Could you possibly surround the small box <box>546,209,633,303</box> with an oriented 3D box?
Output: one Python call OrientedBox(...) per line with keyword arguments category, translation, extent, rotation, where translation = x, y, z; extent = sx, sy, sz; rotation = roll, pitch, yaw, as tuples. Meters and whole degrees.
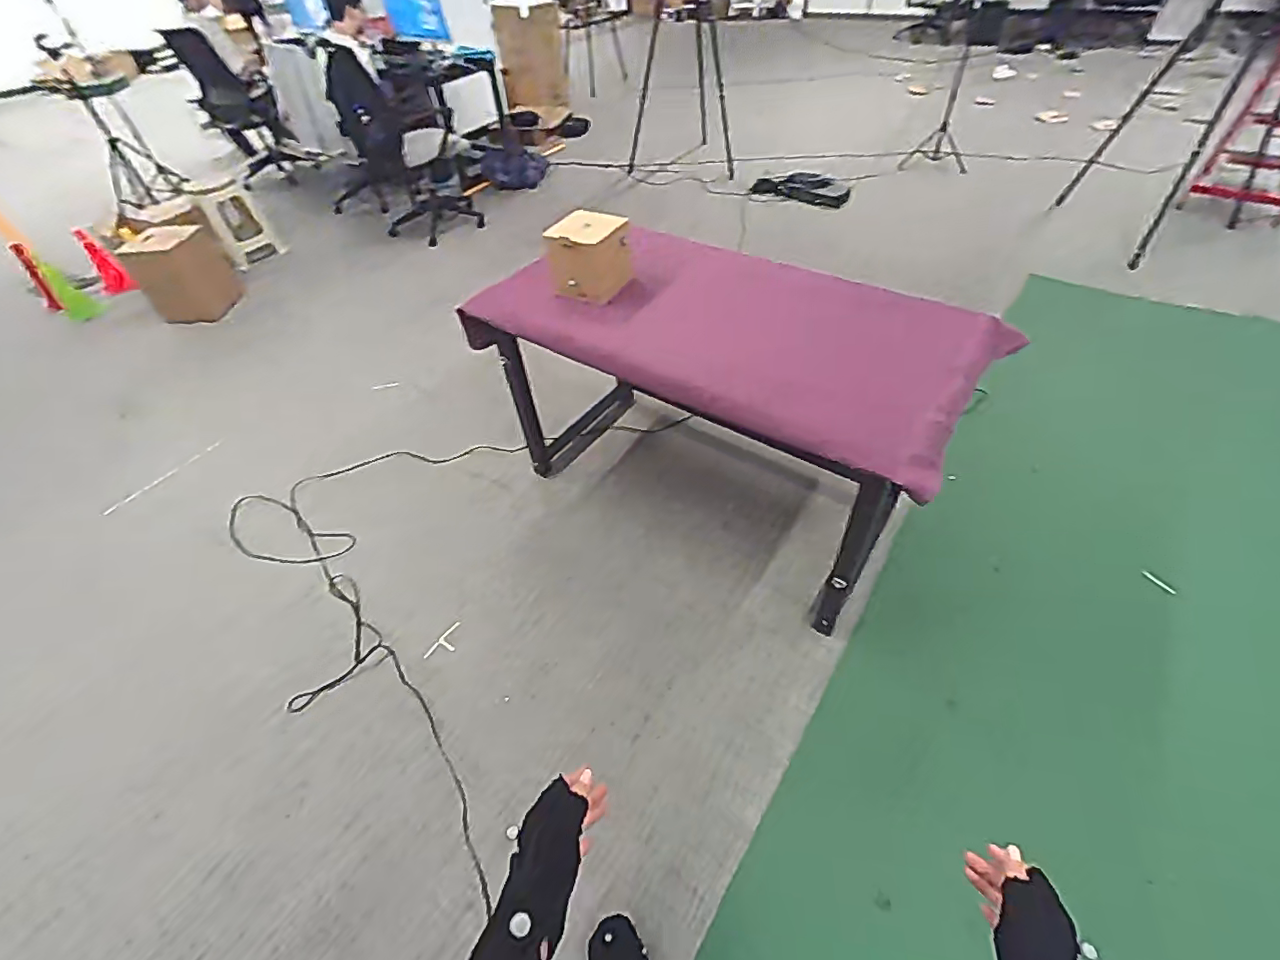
OrientedBox(category="small box", translation=(-0.129, -0.610, 1.472), extent=(0.168, 0.176, 0.179), rotation=(20, 53, 23))
